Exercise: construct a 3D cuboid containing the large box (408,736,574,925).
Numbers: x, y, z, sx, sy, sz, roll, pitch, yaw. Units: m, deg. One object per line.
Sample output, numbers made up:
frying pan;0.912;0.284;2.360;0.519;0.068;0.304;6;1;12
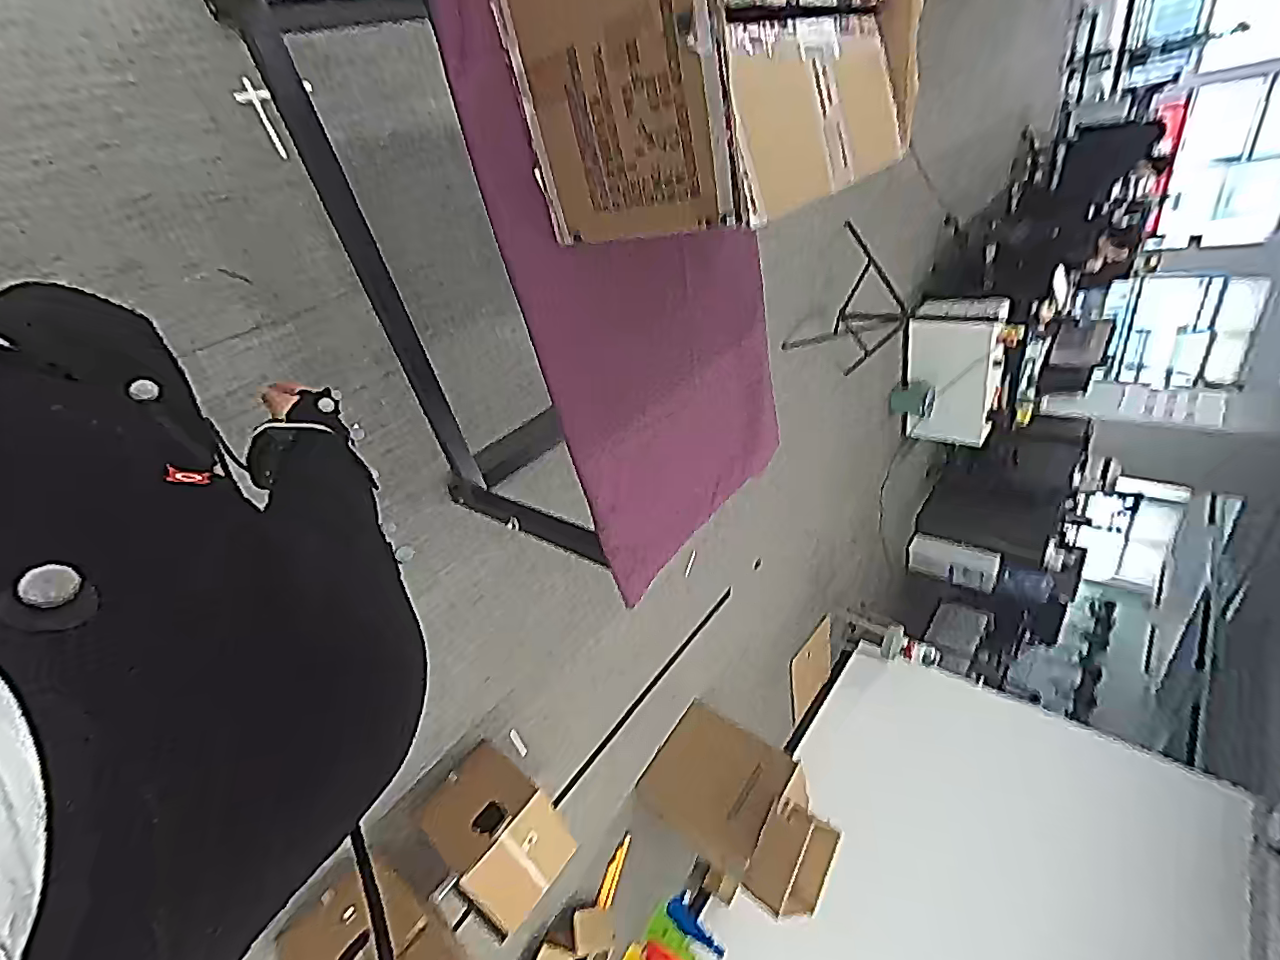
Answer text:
large box;-0.483;1.150;1.792;0.320;0.320;0.408;-42;130;-34
